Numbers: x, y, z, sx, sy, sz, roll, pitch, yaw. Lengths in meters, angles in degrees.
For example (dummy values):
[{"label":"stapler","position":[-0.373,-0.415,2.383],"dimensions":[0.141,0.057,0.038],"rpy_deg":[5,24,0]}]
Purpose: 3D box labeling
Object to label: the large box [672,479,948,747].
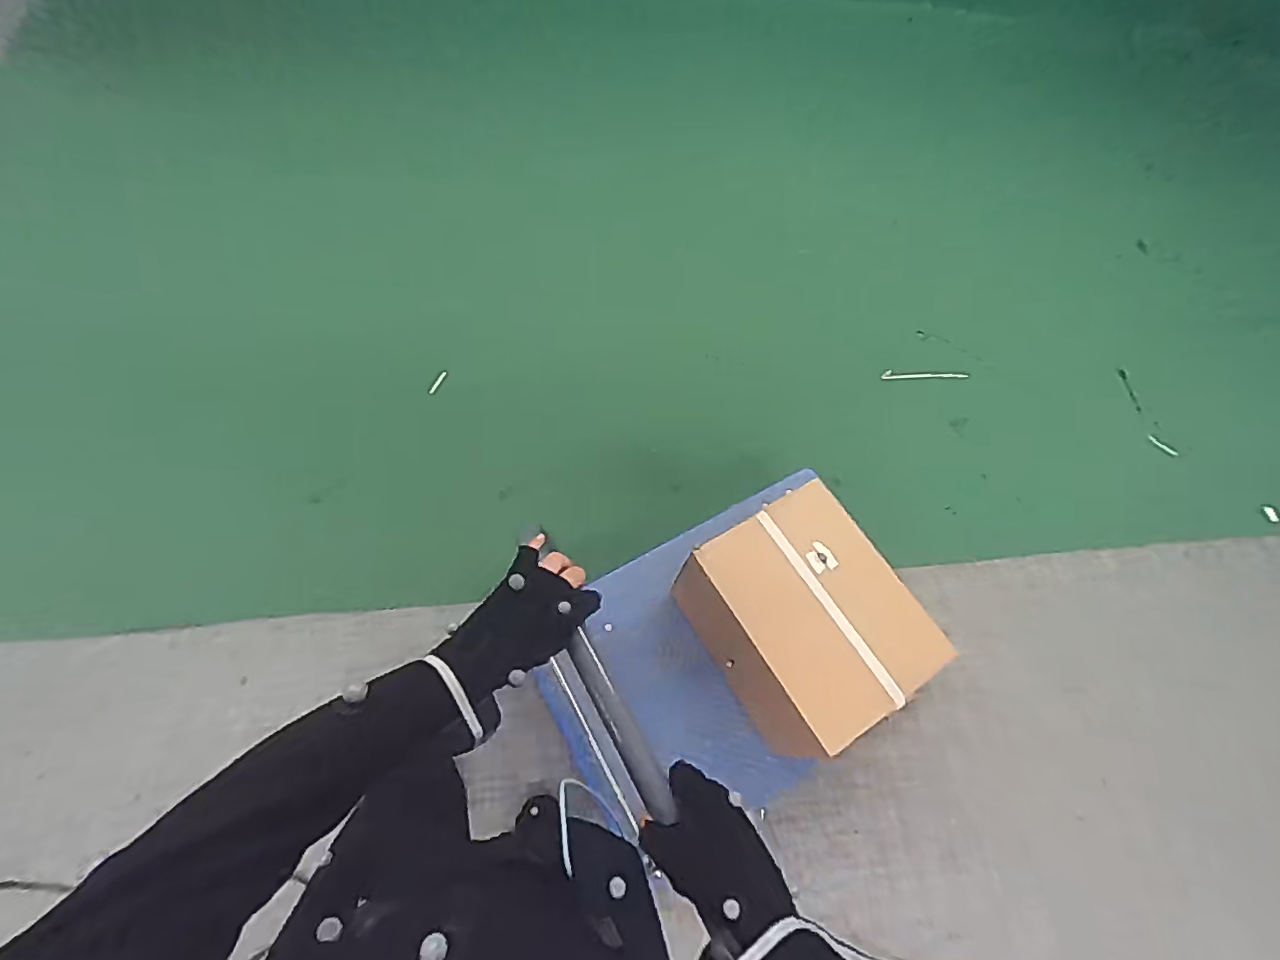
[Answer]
[{"label":"large box","position":[0.314,0.281,1.127],"dimensions":[0.320,0.320,0.408],"rpy_deg":[-28,70,-18]}]
